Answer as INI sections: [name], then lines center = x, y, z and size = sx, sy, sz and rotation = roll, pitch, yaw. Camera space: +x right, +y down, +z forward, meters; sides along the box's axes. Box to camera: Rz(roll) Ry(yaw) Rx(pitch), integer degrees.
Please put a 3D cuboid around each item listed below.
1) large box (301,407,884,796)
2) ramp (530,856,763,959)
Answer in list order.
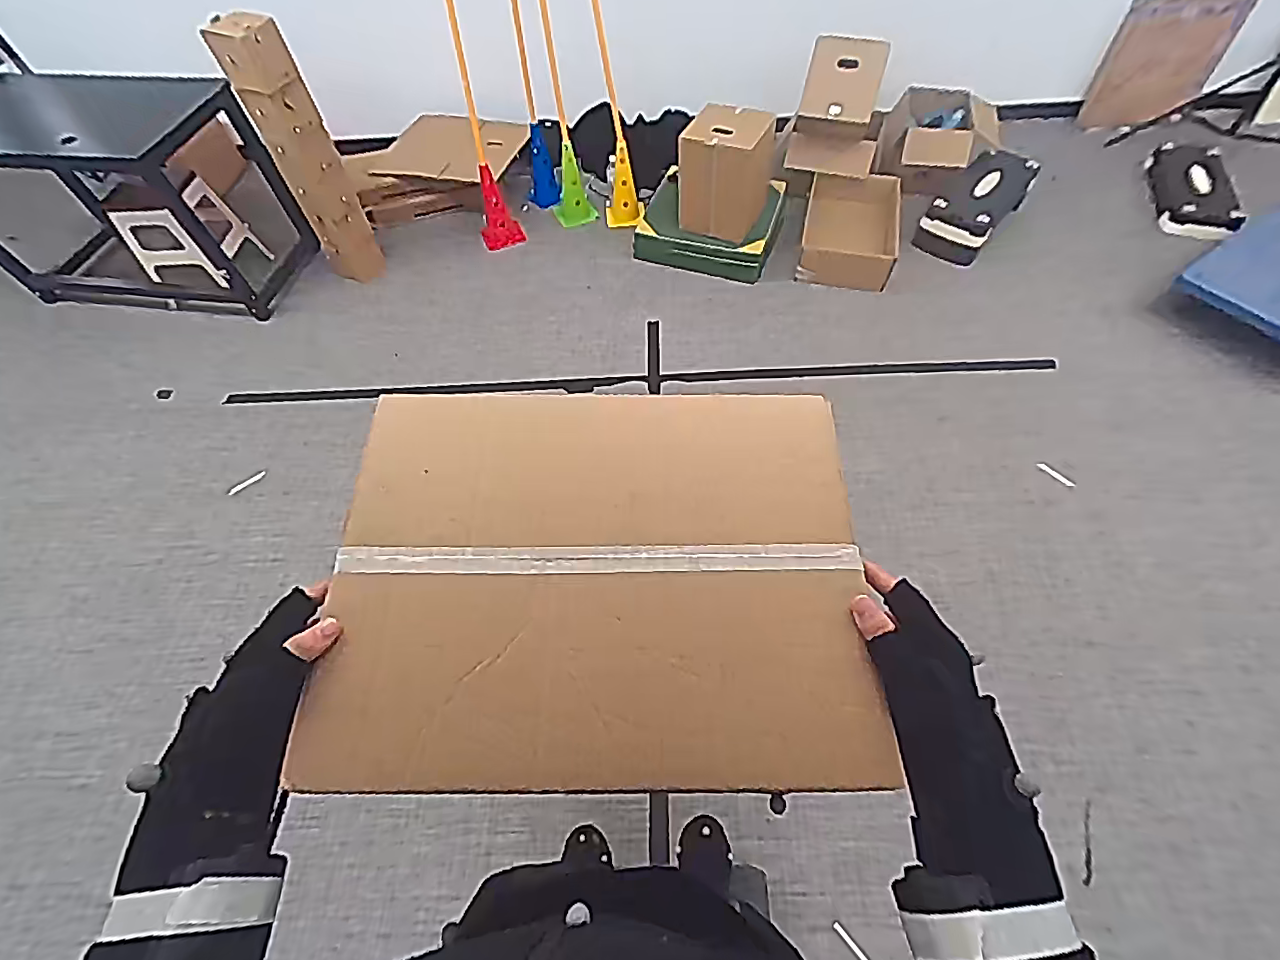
[large box]
center = -0.033, 0.136, 0.563
size = 0.408, 0.320, 0.320
rotation = 0, 62, -1
[ramp]
center = 0.018, 1.302, 1.011
size = 0.509, 0.206, 0.991
rotation = -2, 58, -1
